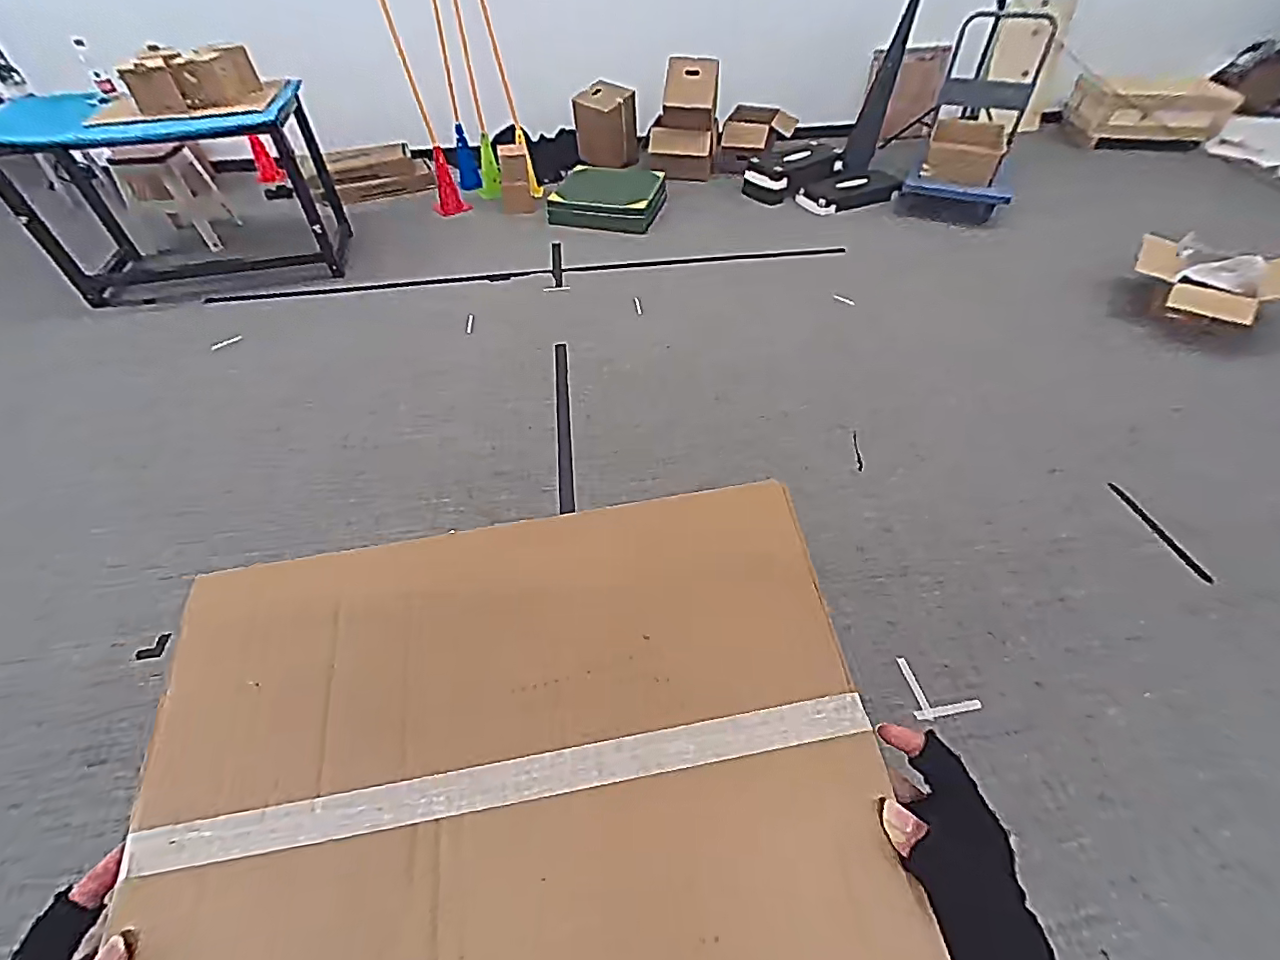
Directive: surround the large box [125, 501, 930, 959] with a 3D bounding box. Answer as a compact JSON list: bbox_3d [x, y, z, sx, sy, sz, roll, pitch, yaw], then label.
[{"bbox_3d":[-0.064,0.249,0.436,0.408,0.320,0.320,-9,60,-3],"label":"large box"}]
